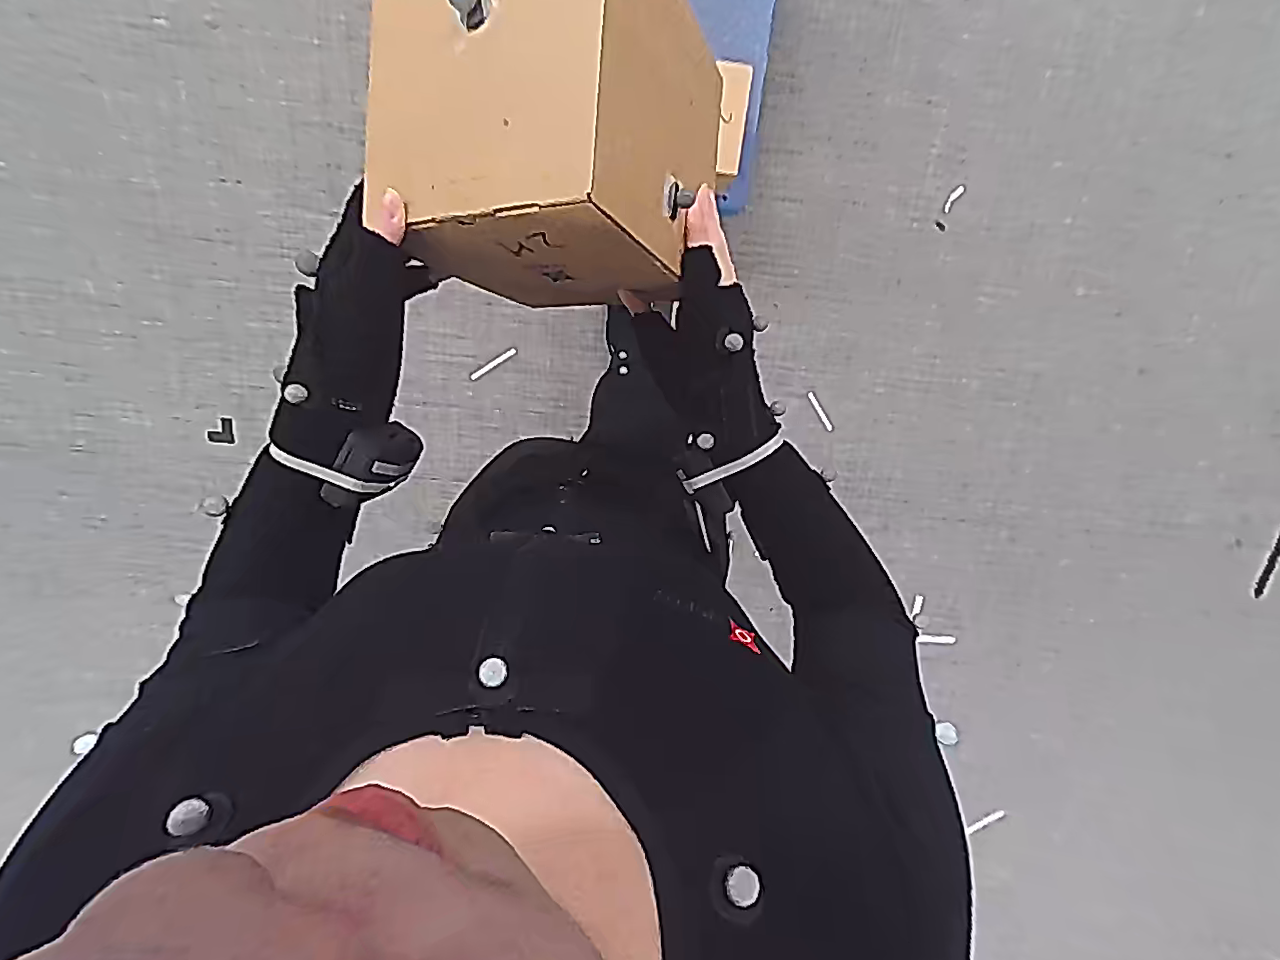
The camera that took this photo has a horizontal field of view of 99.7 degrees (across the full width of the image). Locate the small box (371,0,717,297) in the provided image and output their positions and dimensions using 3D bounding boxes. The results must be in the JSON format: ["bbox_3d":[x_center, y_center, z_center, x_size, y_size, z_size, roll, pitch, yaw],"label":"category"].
[{"bbox_3d":[-0.052,-0.237,0.372,0.168,0.179,0.176,5,93,25],"label":"small box"}]
